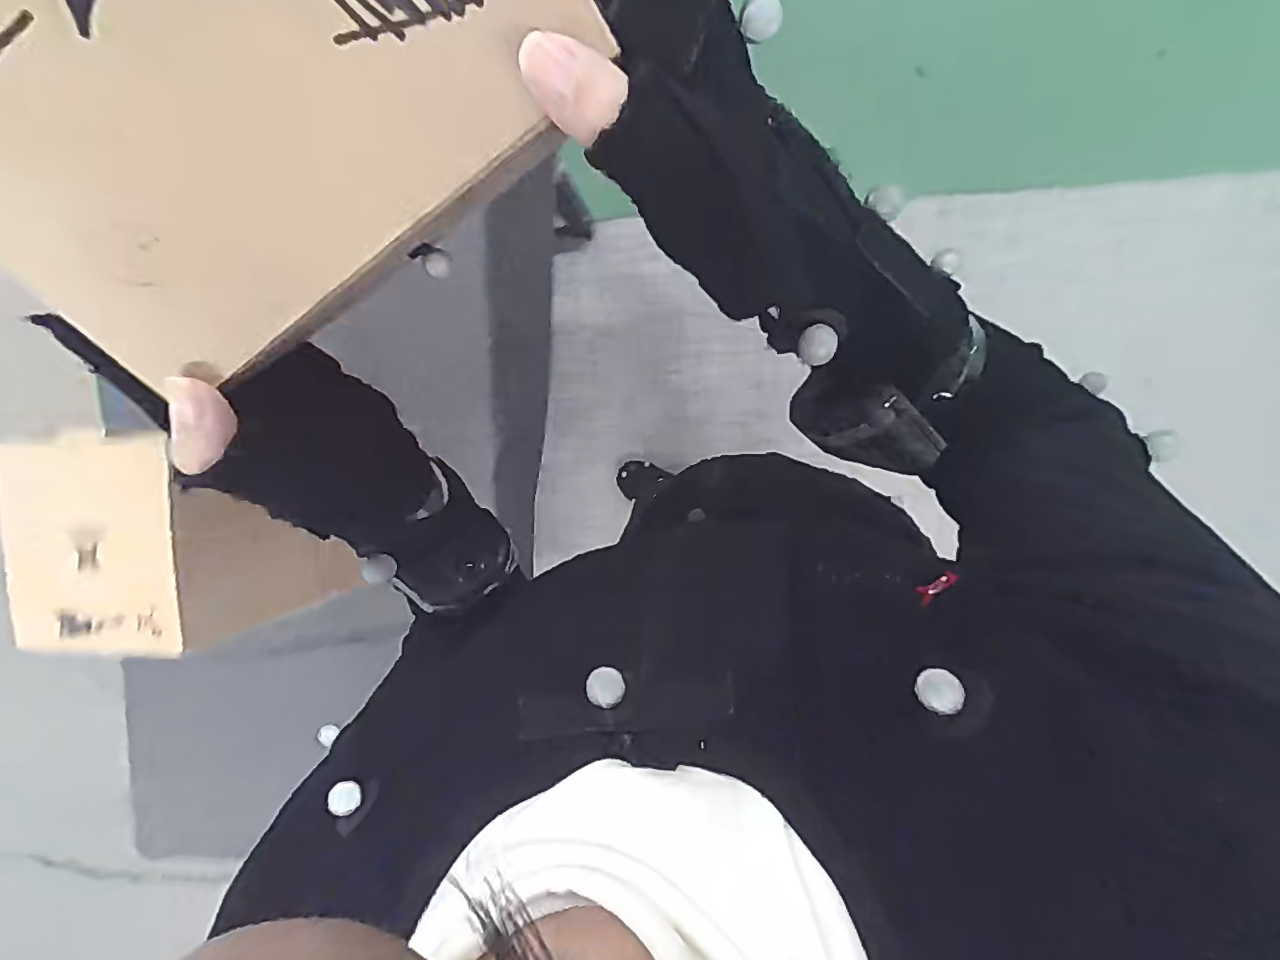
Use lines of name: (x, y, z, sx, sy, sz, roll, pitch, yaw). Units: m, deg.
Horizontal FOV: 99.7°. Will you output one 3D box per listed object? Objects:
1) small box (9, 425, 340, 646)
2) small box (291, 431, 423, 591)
small box: (-0.422, 0.044, 0.519, 0.168, 0.176, 0.179, -4, 94, 9)
small box: (-0.395, 0.031, 0.678, 0.168, 0.176, 0.179, -2, 95, 10)
